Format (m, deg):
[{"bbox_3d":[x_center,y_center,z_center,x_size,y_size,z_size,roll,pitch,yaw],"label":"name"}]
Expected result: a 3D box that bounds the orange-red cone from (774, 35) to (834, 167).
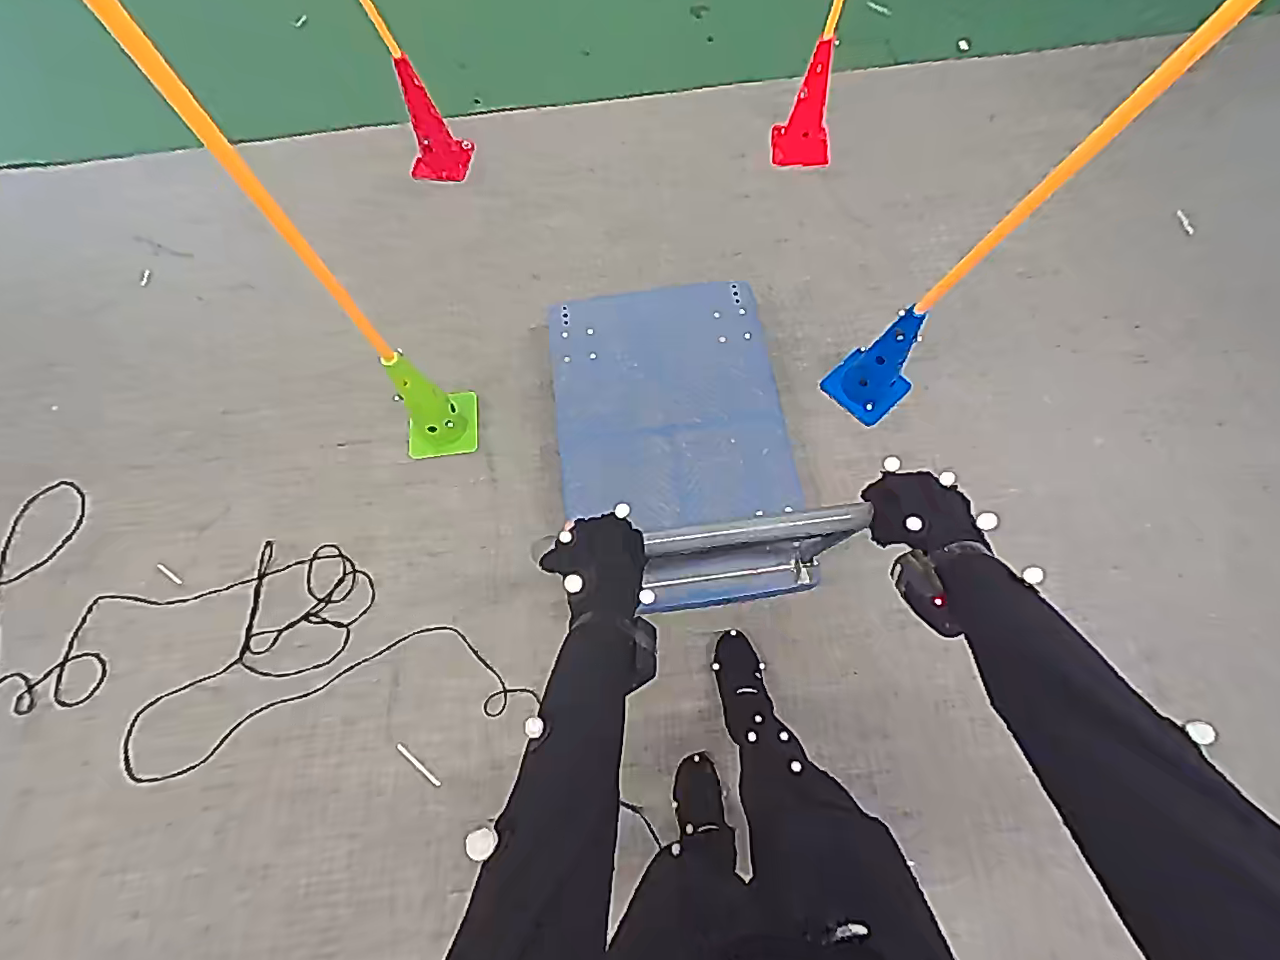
[{"bbox_3d":[0.568,-1.244,1.763,0.198,0.360,0.199,4,71,5],"label":"orange-red cone"}]
